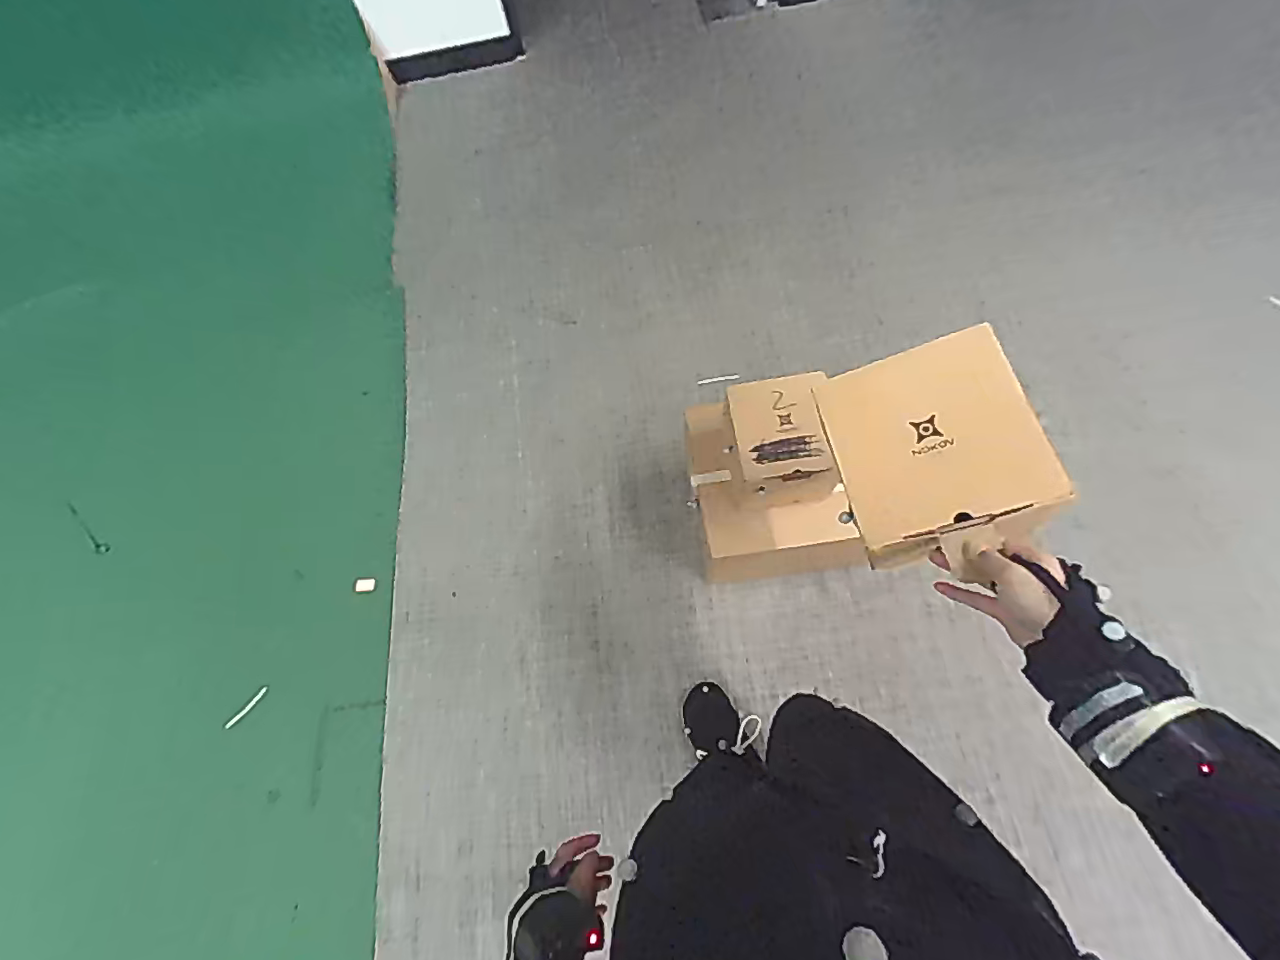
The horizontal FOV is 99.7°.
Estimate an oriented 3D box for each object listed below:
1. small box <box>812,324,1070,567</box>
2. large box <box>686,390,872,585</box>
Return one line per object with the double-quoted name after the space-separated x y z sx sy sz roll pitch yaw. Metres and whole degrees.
0.292 -0.021 0.562 0.168 0.176 0.179 -20 67 19 "small box"
0.322 0.023 1.159 0.408 0.320 0.320 -9 70 2 "large box"
